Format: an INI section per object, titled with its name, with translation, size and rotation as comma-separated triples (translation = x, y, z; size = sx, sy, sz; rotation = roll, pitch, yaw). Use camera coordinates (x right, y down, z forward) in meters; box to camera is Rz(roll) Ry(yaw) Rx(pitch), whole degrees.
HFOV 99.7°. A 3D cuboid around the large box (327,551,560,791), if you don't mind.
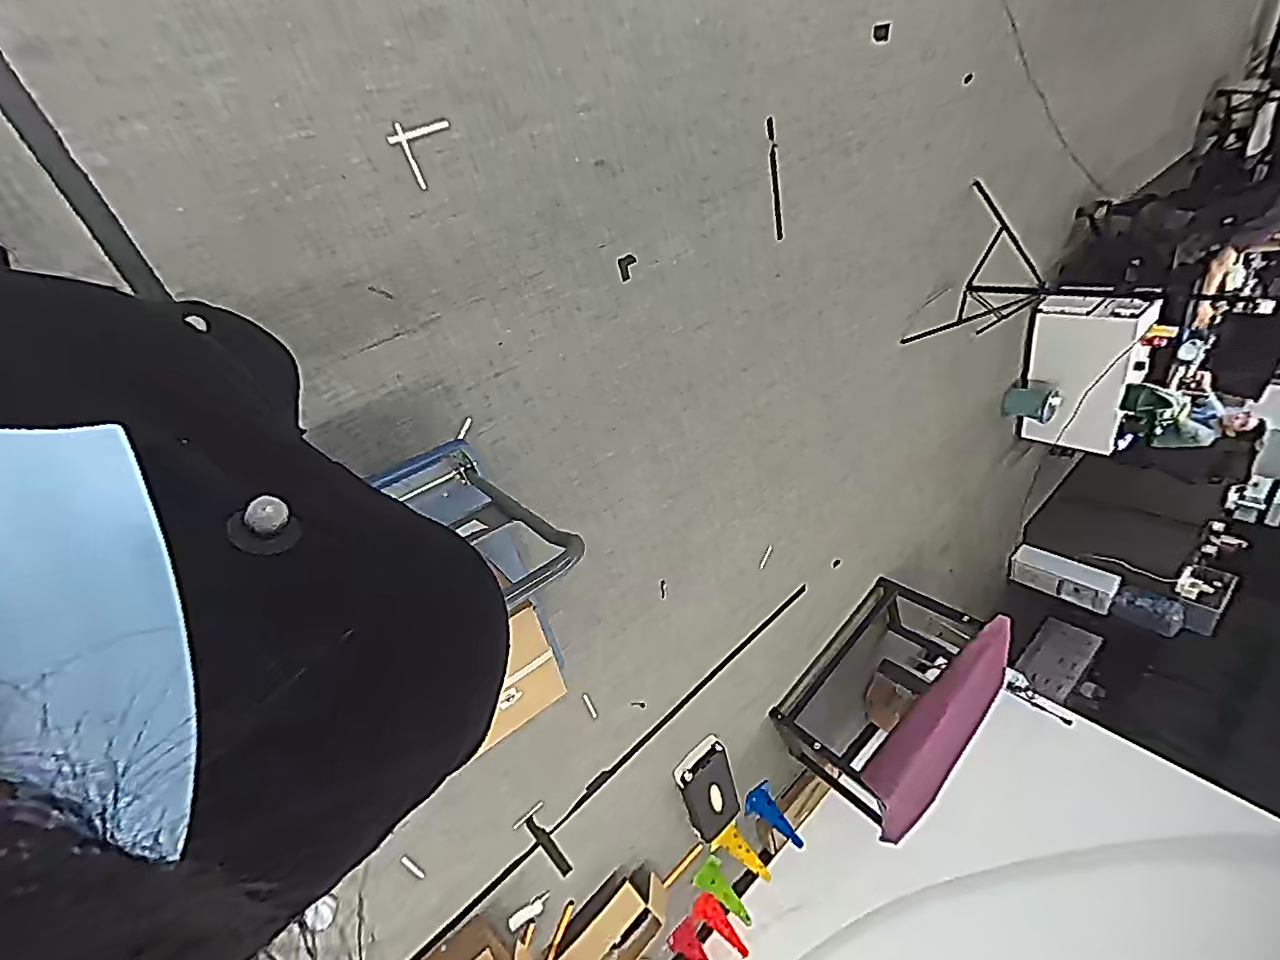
[large box]
translation = -0.478, 0.443, 1.339
size = 0.408, 0.320, 0.320
rotation = -30, 124, -28
